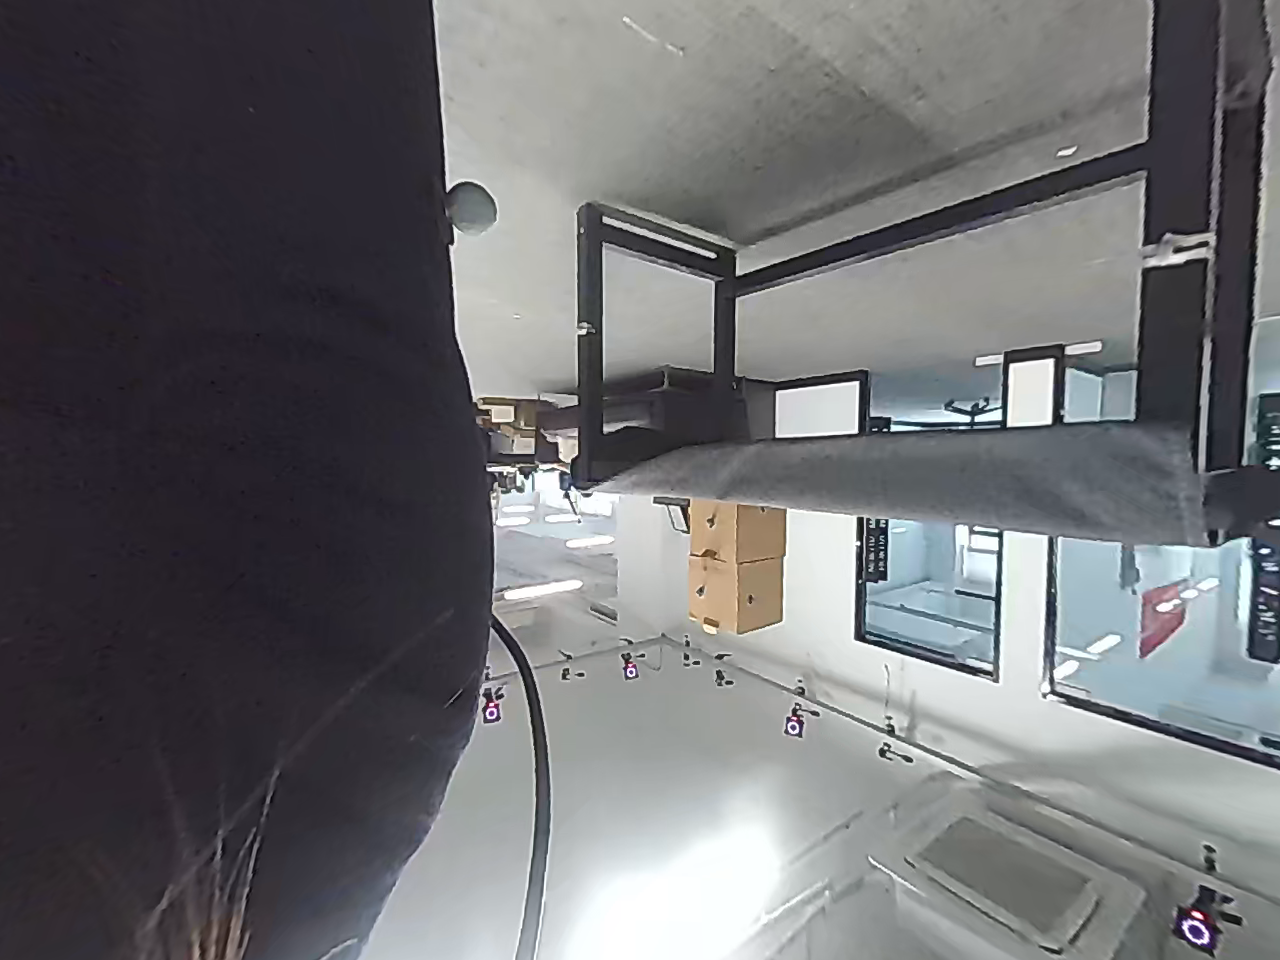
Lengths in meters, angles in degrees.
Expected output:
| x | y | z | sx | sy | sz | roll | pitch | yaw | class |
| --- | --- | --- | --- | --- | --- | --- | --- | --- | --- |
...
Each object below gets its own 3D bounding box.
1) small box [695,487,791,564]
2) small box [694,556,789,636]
| x | y | z | sx | sy | sz | roll | pitch | yaw | class |
| --- | --- | --- | --- | --- | --- | --- | --- | --- | --- |
| 0.250 | 0.104 | 1.327 | 0.179 | 0.176 | 0.168 | -2 | -177 | -35 | small box |
| 0.249 | 0.267 | 1.337 | 0.179 | 0.176 | 0.168 | -3 | -176 | -38 | small box |
